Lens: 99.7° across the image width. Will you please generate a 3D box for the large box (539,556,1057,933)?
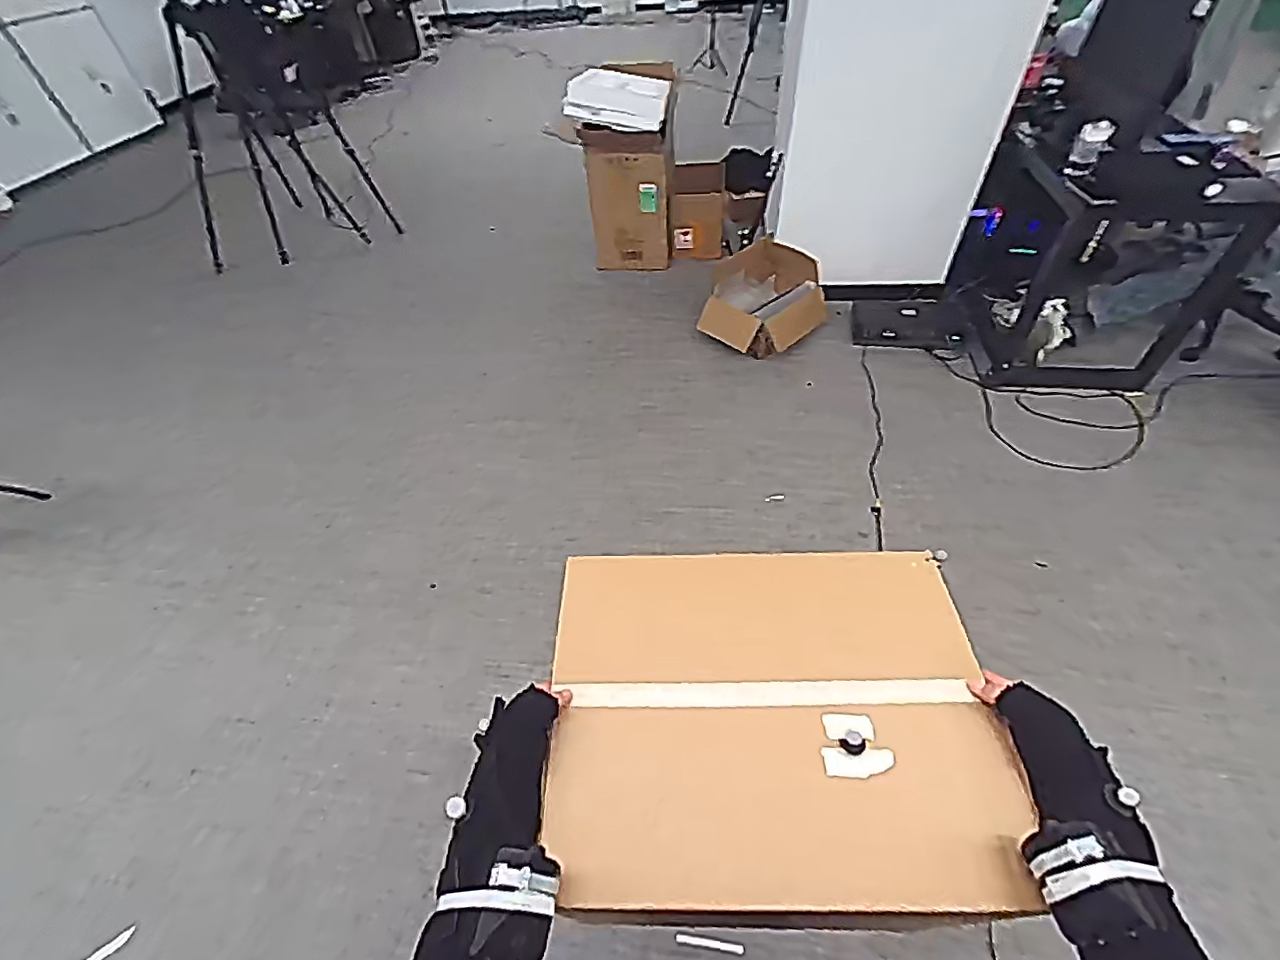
[{"bbox_3d":[0.121,0.305,0.618,0.408,0.320,0.320,-1,48,2],"label":"large box"}]
